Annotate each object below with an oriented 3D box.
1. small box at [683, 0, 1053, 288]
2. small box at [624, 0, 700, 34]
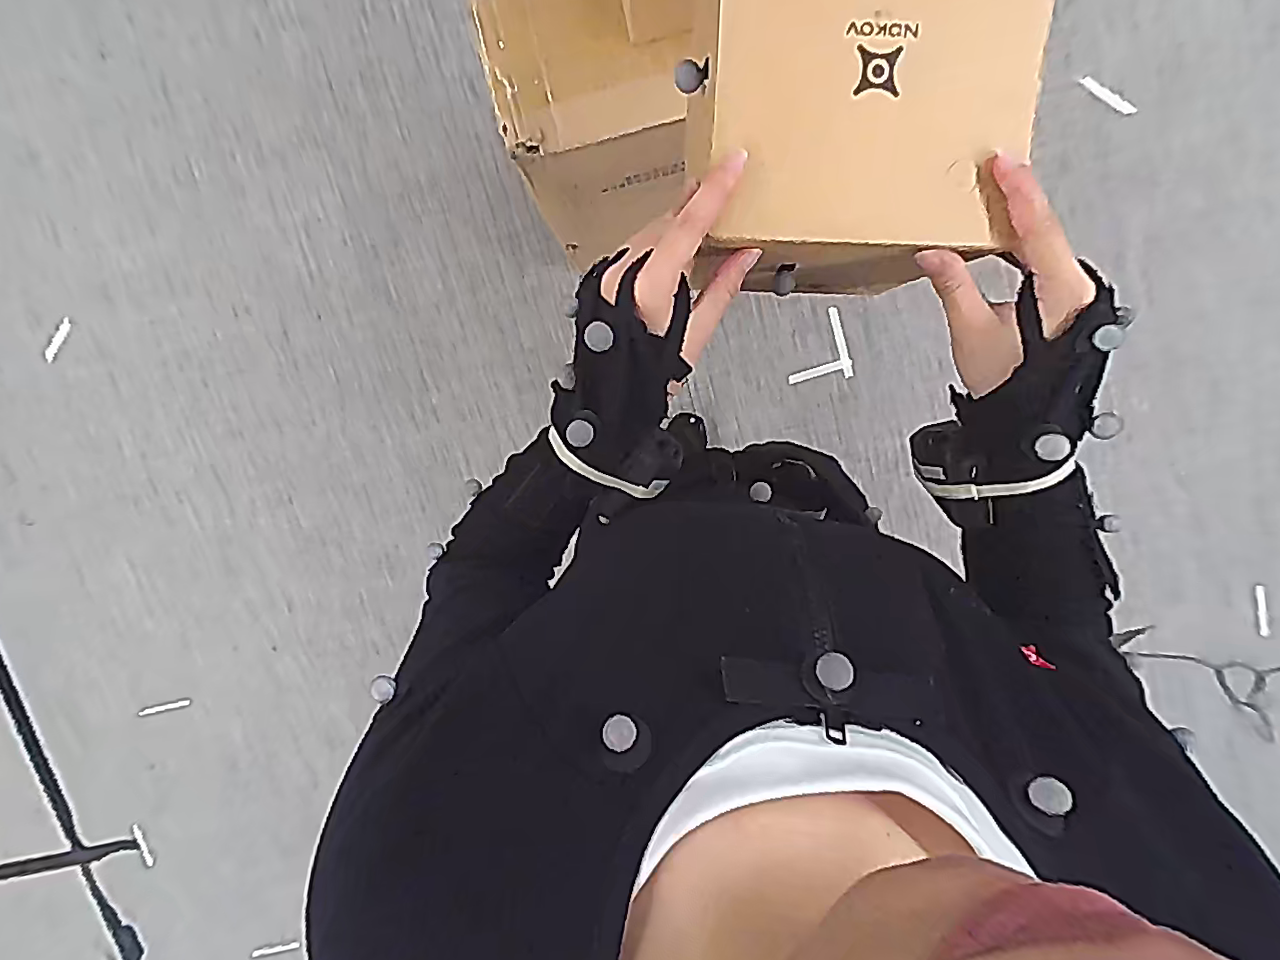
[{"bbox_3d":[0.117,-0.227,0.345,0.168,0.176,0.179,2,99,0],"label":"small box"},{"bbox_3d":[0.053,-0.637,0.586,0.179,0.176,0.168,-13,98,3],"label":"small box"}]
